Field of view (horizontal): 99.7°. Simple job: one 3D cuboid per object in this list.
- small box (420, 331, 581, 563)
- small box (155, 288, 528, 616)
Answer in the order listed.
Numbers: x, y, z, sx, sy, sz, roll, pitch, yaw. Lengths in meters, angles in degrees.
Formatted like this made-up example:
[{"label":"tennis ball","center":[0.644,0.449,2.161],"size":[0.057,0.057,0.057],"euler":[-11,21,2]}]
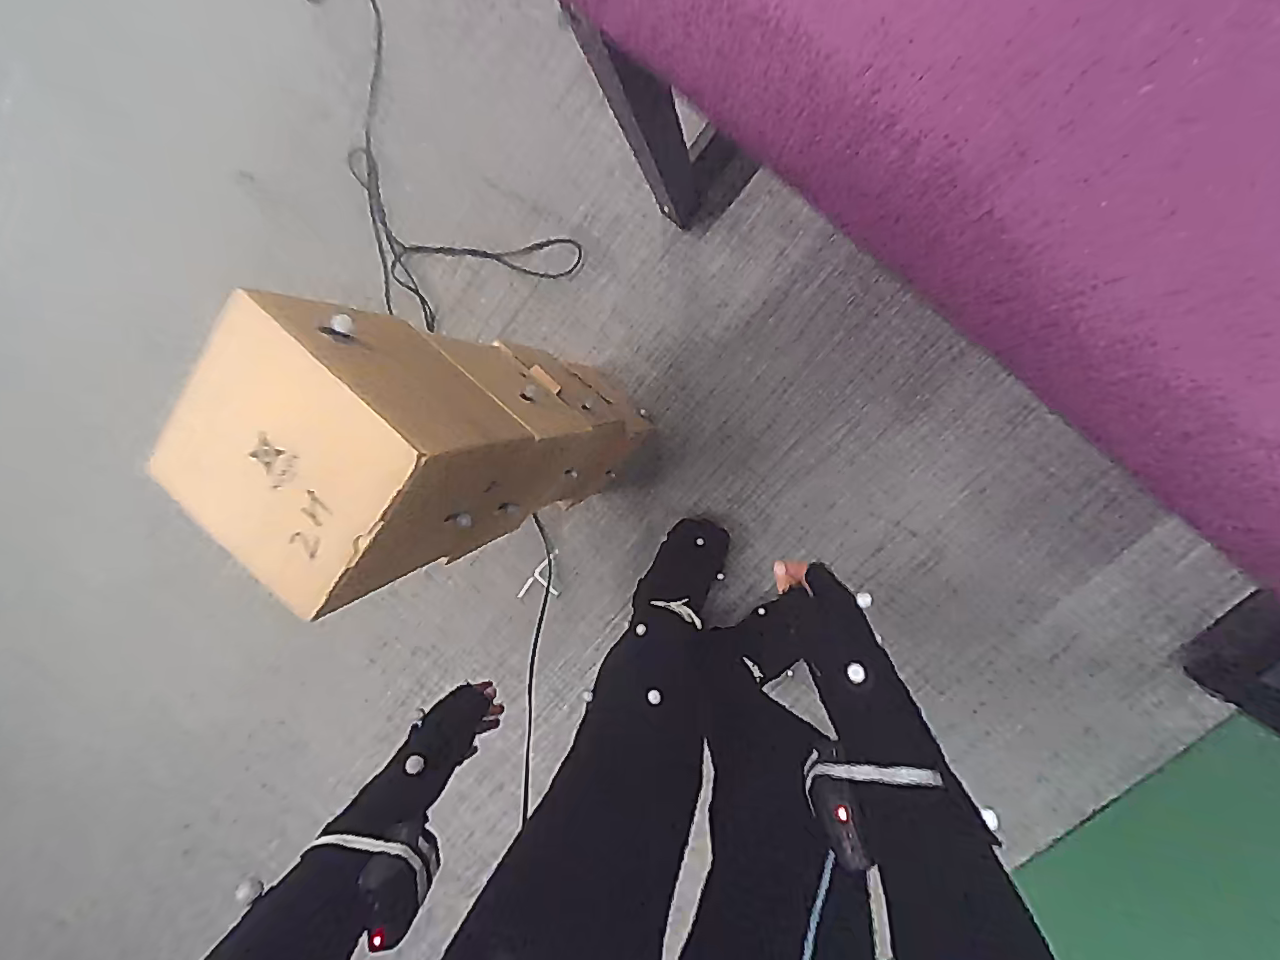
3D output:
[{"label":"small box","center":[-0.187,-0.042,0.613],"size":[0.168,0.176,0.179],"euler":[42,106,4]},{"label":"small box","center":[-0.231,-0.026,0.454],"size":[0.179,0.176,0.168],"euler":[43,106,3]}]
